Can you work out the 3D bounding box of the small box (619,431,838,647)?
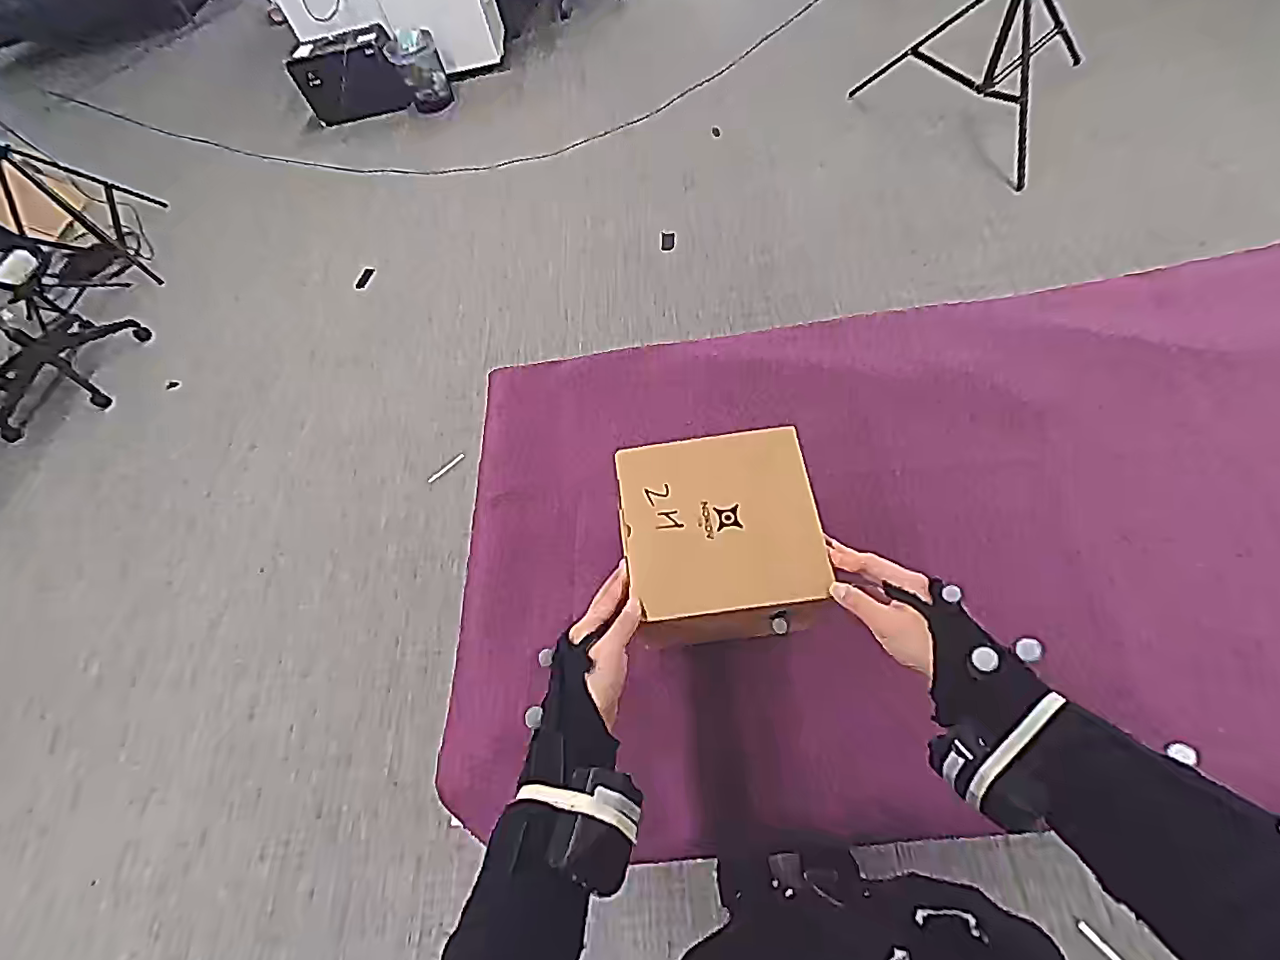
[{"bbox_3d":[0.079,0.070,0.558,0.179,0.176,0.168,-8,64,2],"label":"small box"}]
